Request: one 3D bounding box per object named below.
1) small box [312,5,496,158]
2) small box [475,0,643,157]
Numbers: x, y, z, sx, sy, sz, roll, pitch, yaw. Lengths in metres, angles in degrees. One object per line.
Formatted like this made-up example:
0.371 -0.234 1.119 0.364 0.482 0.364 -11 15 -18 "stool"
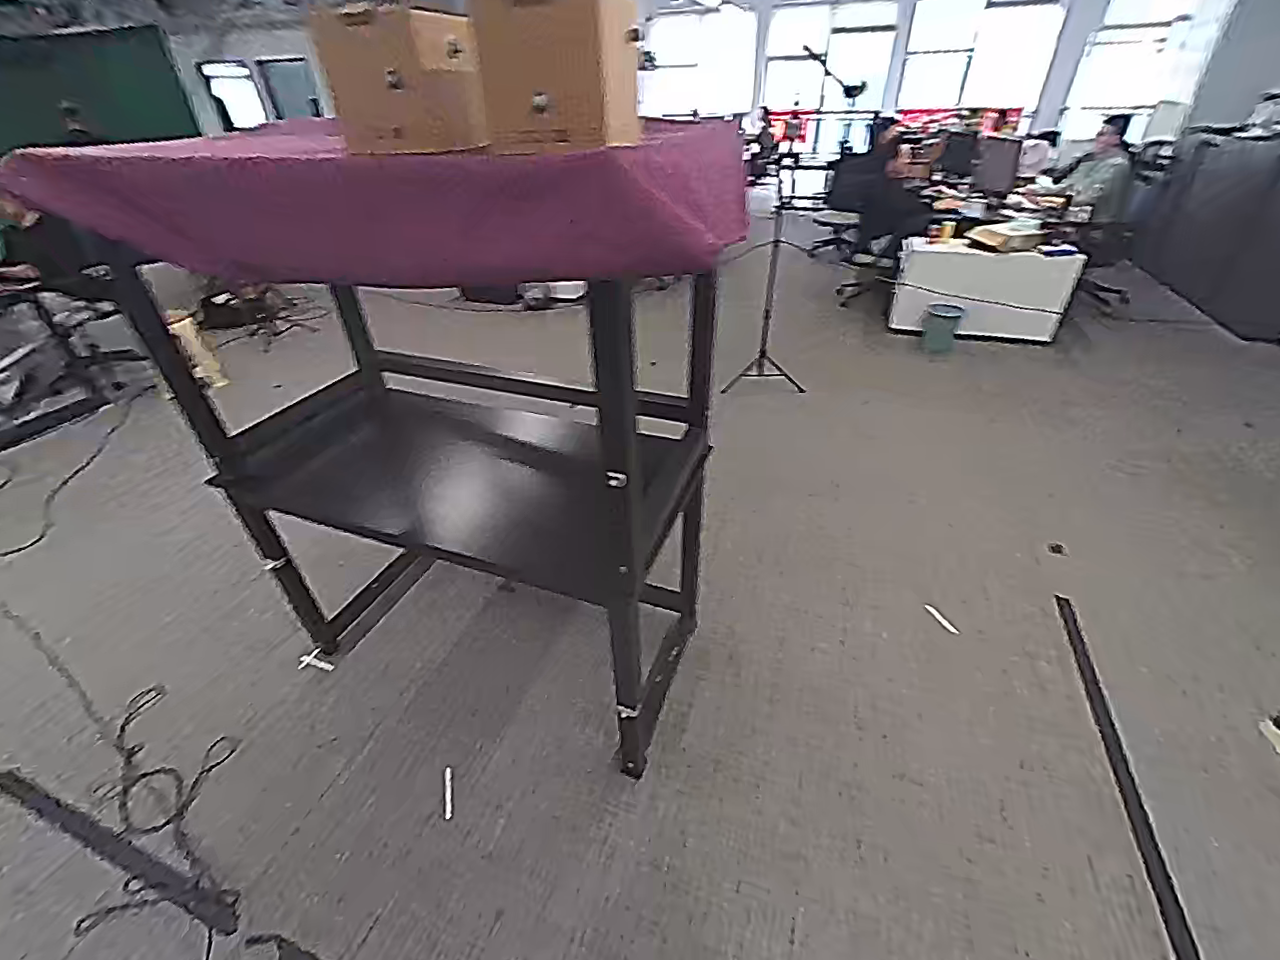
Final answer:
-0.335 -0.586 0.811 0.168 0.176 0.179 9 36 15 "small box"
-0.094 -0.533 0.717 0.168 0.176 0.179 6 35 13 "small box"
